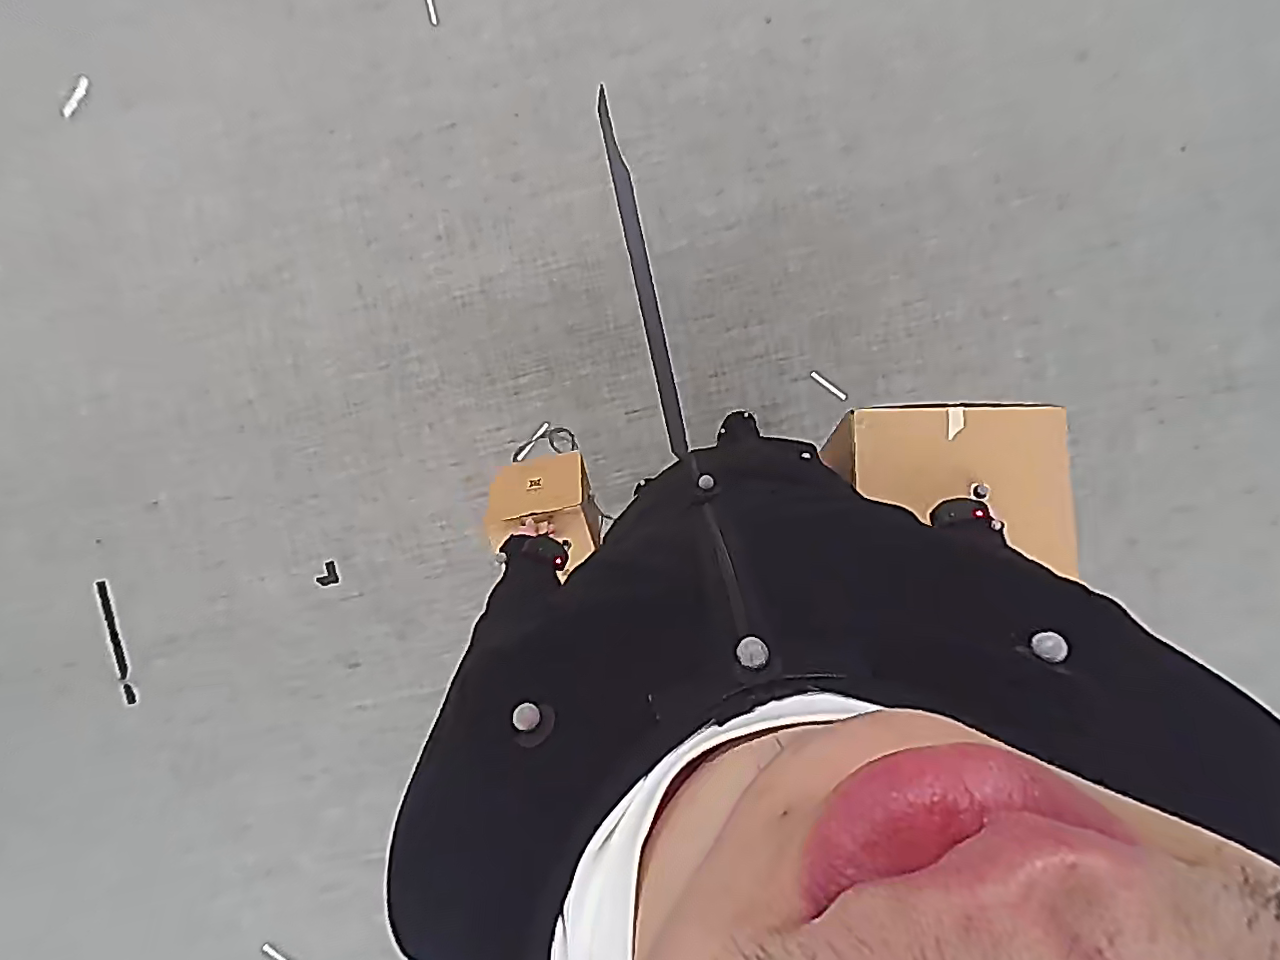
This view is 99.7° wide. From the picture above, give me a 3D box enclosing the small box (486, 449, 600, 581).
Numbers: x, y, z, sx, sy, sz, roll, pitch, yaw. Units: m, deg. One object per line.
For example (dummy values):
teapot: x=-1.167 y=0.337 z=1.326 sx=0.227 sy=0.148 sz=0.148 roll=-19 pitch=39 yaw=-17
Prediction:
small box: x=-0.172 y=0.070 z=1.002 sx=0.168 sy=0.179 sz=0.176 roll=-11 pitch=126 yaw=-1
